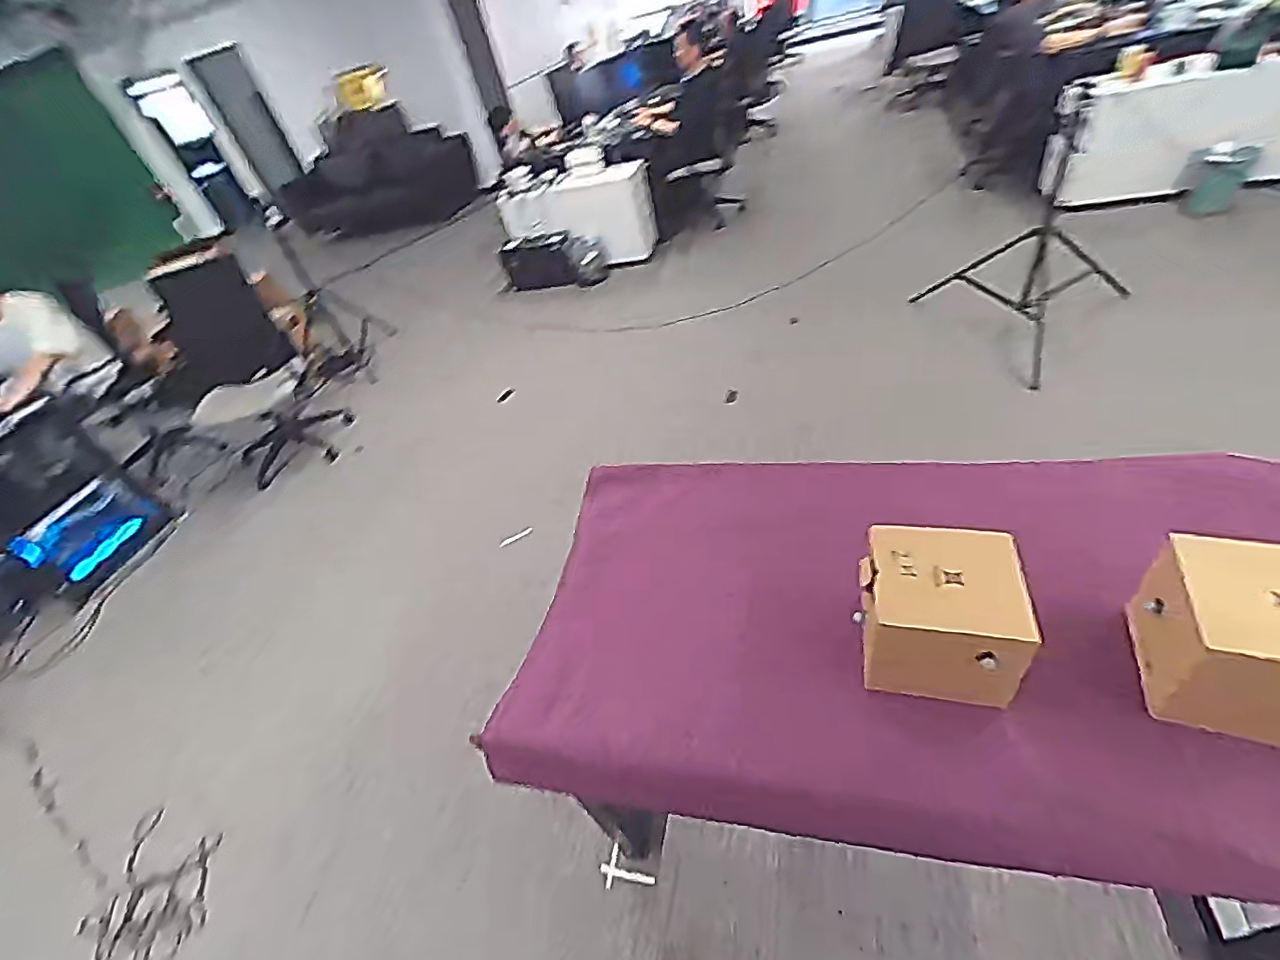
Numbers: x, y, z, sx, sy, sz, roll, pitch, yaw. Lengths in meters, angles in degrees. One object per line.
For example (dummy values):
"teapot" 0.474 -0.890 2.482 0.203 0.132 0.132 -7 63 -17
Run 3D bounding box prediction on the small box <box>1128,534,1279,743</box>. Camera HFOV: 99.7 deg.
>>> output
"small box" 0.717 0.188 0.636 0.179 0.176 0.168 6 46 25

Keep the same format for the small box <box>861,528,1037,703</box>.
"small box" 0.405 0.186 0.744 0.179 0.176 0.168 1 43 19
